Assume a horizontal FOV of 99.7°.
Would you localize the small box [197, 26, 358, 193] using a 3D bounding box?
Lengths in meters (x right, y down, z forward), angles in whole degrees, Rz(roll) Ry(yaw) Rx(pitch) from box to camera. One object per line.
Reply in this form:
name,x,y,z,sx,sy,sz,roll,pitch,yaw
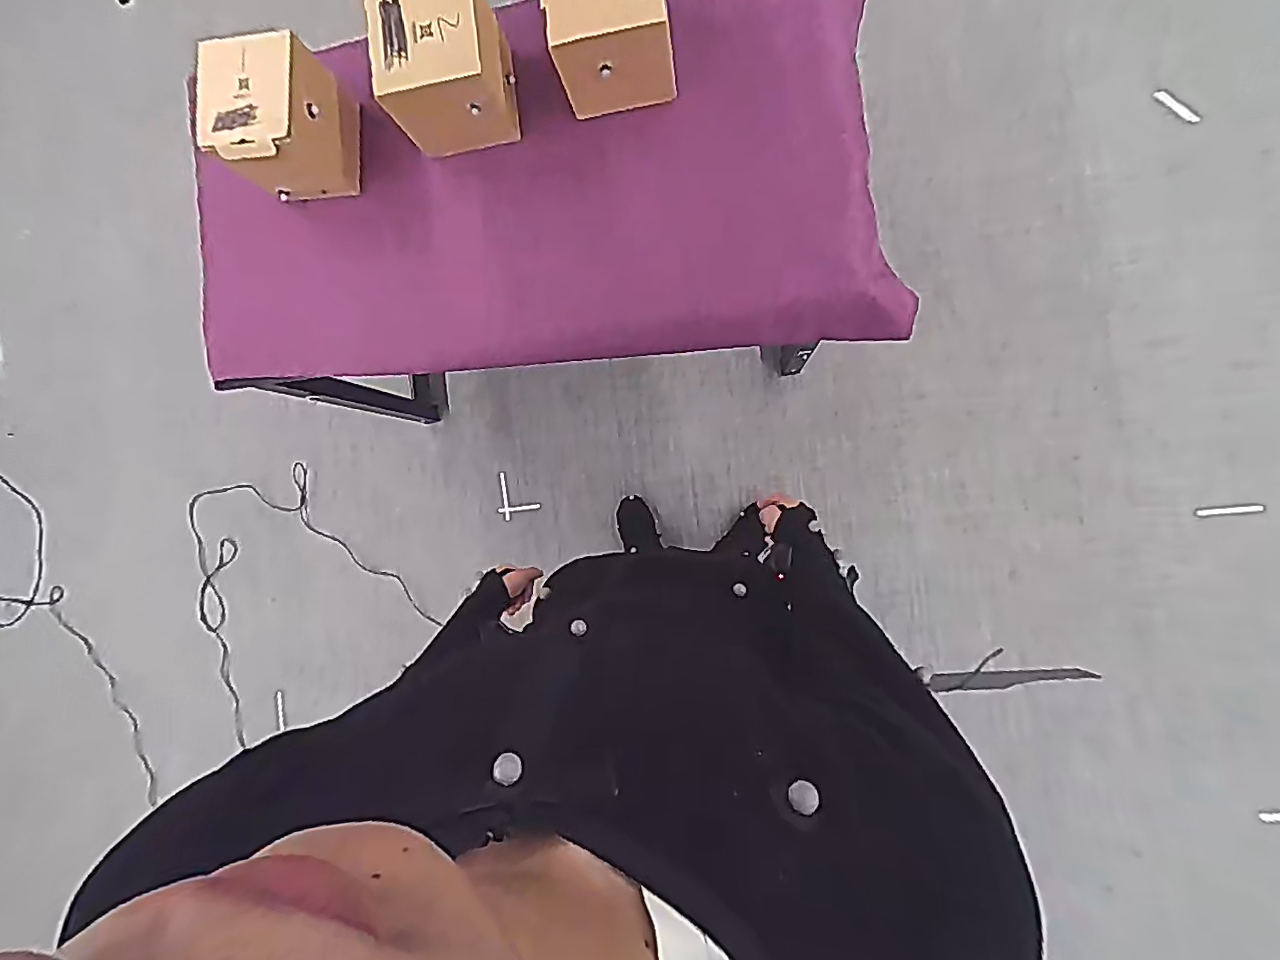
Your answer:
small box,-0.607,-0.613,0.923,0.168,0.176,0.179,0,90,8
